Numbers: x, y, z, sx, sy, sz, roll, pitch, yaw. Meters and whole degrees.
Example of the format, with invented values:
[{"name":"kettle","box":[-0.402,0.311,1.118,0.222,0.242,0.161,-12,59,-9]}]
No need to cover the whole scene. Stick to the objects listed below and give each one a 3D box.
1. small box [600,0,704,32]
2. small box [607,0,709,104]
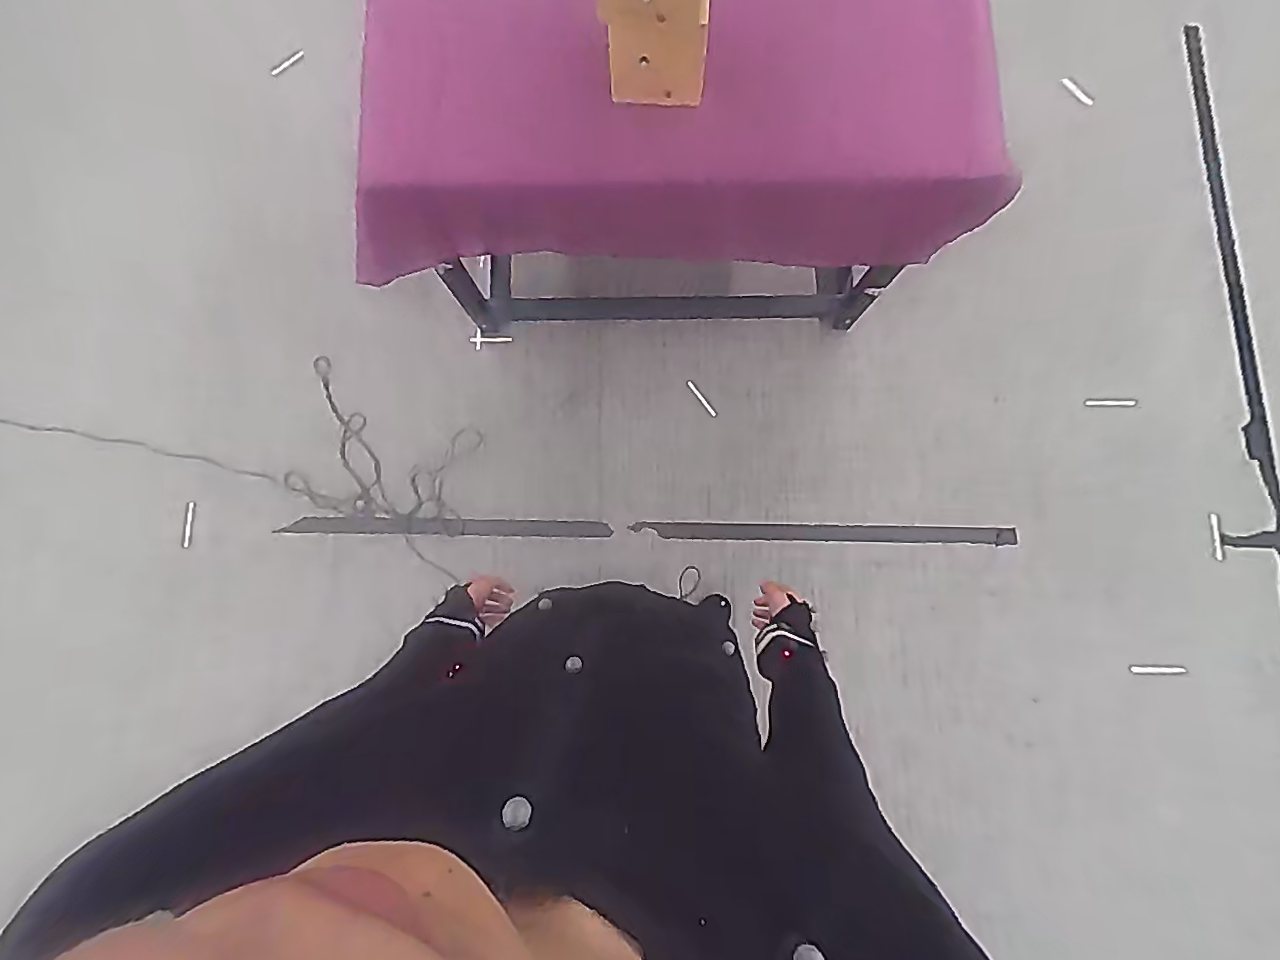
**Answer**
[{"name":"small box","box":[0.027,-0.819,0.792,0.168,0.176,0.179,10,82,3]},{"name":"small box","box":[0.035,-0.807,0.957,0.168,0.176,0.179,3,82,2]}]
